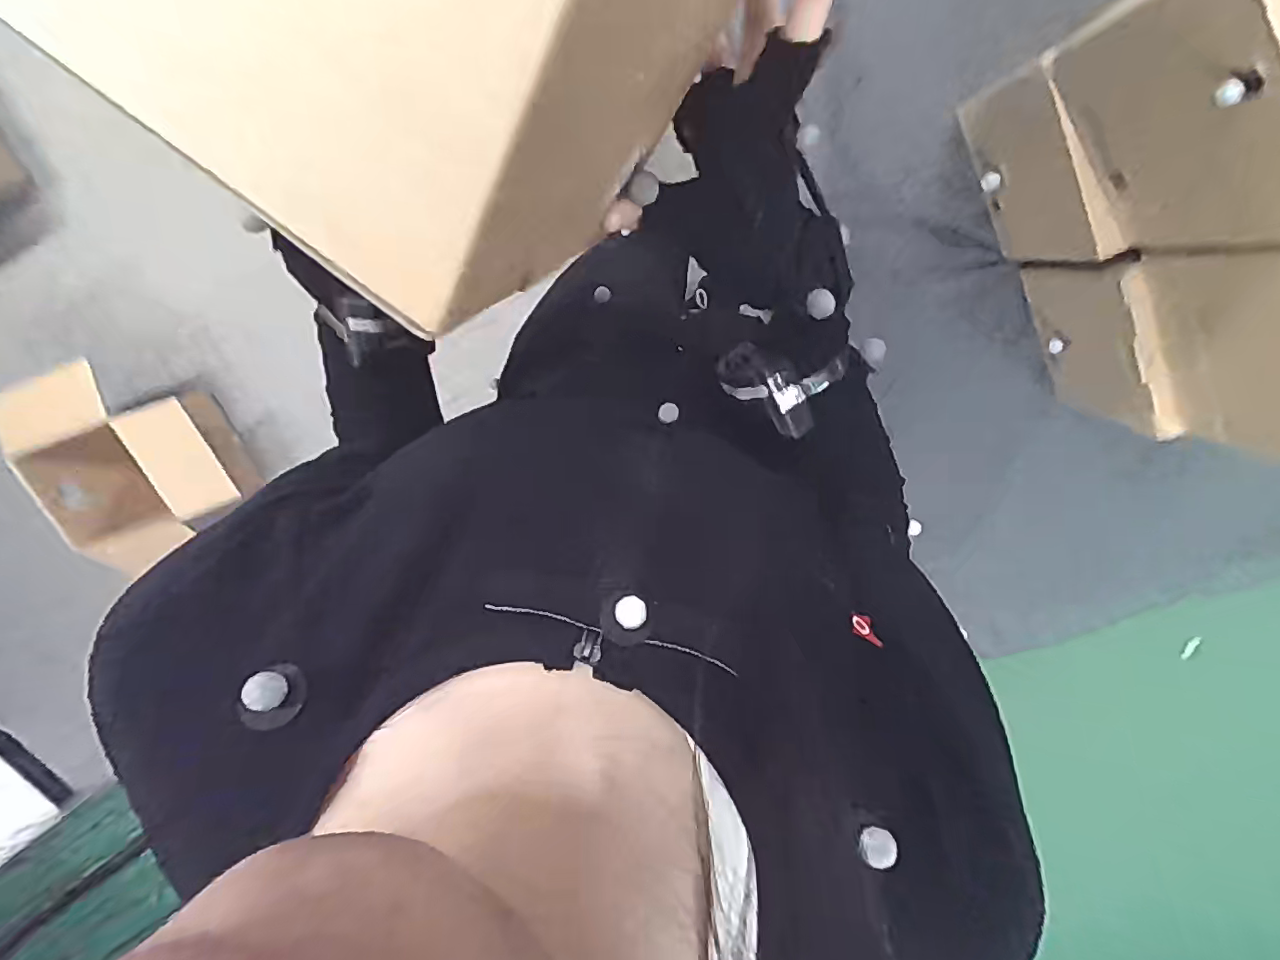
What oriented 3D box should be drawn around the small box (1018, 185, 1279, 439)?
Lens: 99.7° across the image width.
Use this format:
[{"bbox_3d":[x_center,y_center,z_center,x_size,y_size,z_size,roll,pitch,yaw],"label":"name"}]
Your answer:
[{"bbox_3d":[0.521,-0.167,0.528,0.179,0.176,0.168,-24,106,16],"label":"small box"}]
